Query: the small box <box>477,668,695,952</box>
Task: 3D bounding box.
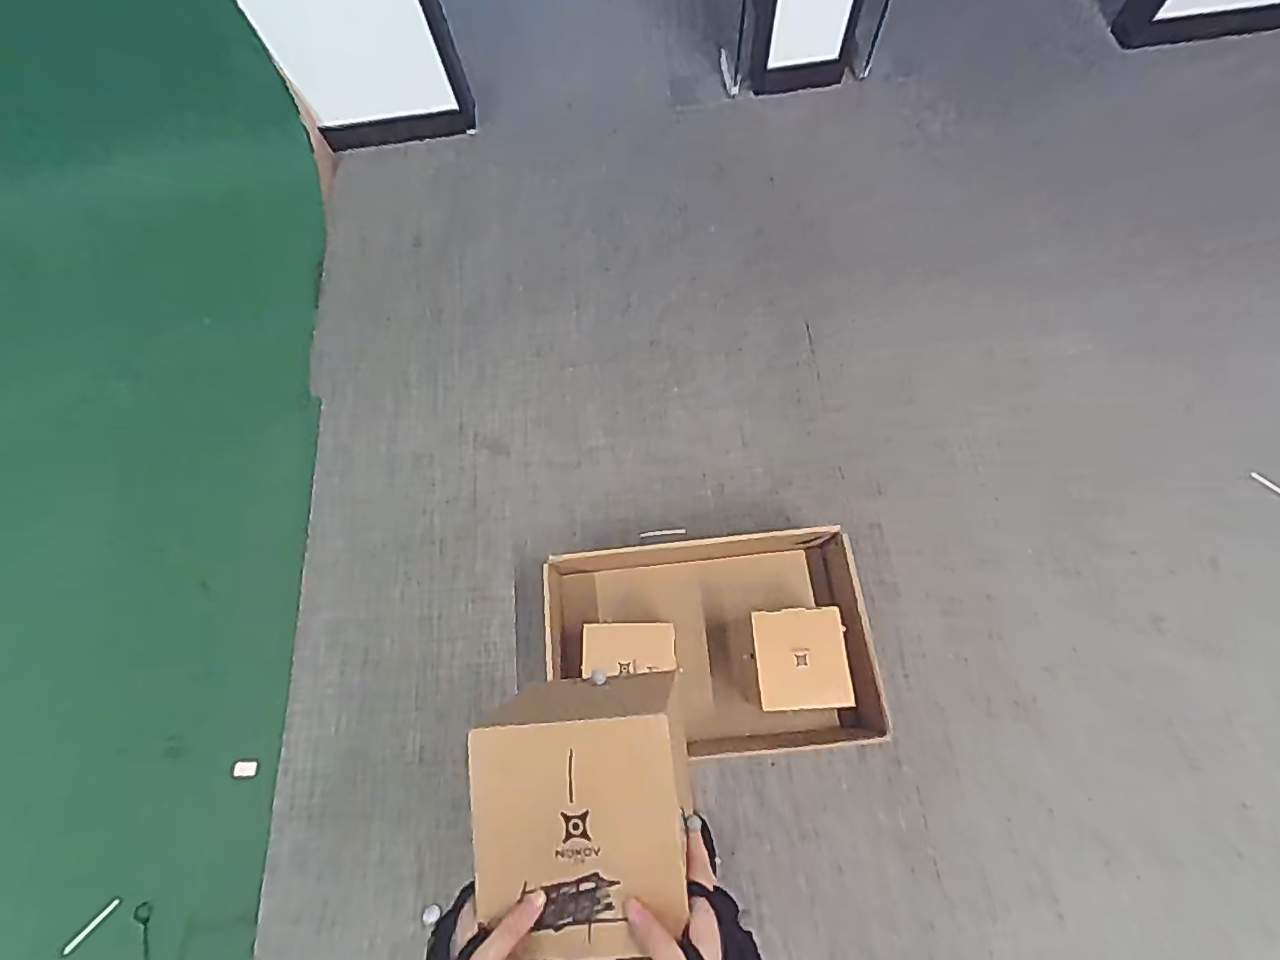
[{"bbox_3d":[-0.039,0.288,0.508,0.168,0.176,0.179,-7,81,5],"label":"small box"}]
